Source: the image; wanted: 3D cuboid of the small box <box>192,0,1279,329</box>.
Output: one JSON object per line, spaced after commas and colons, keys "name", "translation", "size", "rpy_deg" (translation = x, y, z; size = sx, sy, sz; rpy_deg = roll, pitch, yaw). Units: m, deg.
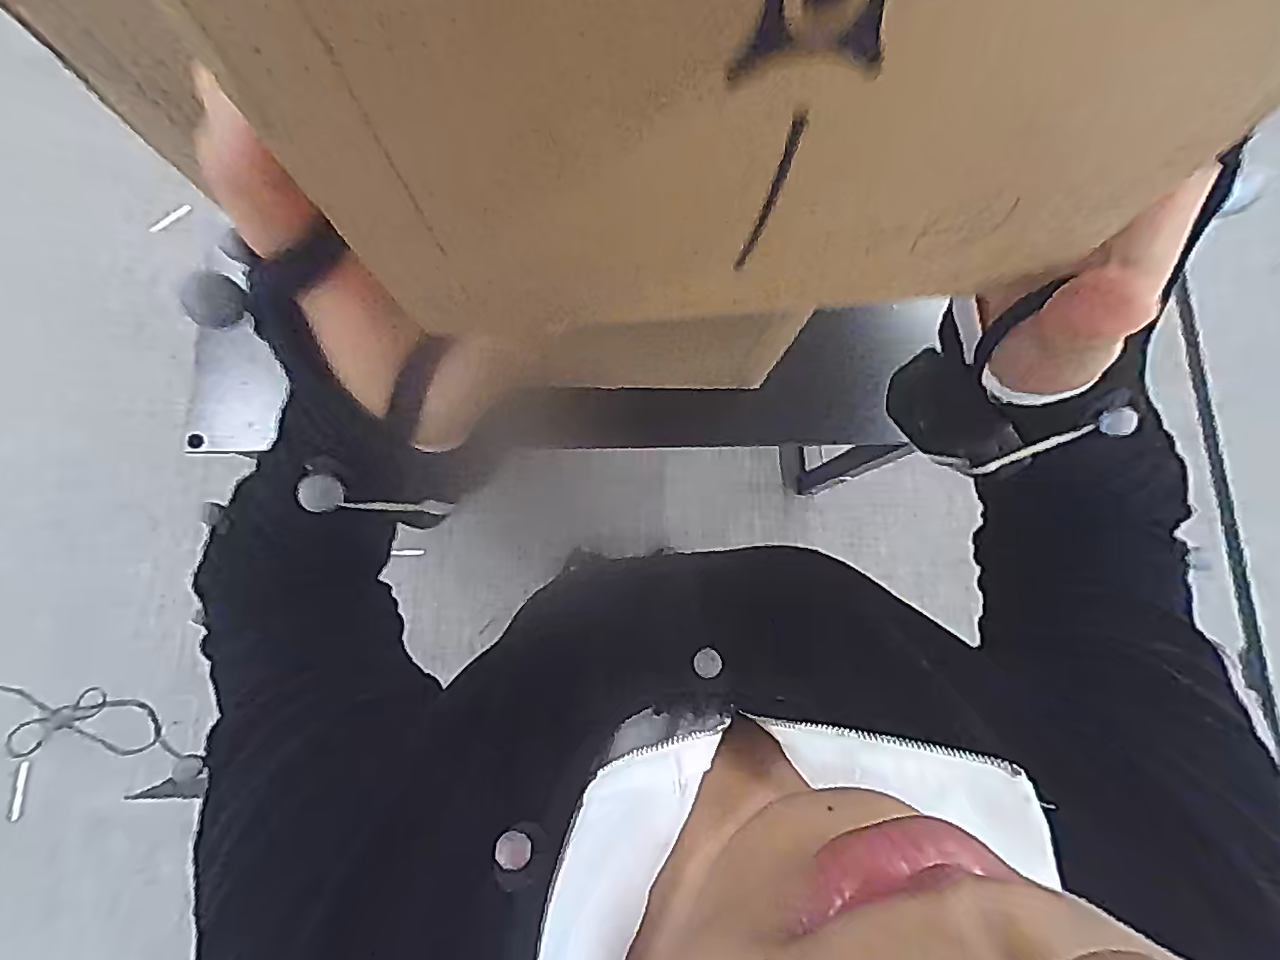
{"name": "small box", "translation": [0.017, -0.148, 0.082], "size": [0.168, 0.179, 0.176], "rpy_deg": [-5, 74, -1]}
